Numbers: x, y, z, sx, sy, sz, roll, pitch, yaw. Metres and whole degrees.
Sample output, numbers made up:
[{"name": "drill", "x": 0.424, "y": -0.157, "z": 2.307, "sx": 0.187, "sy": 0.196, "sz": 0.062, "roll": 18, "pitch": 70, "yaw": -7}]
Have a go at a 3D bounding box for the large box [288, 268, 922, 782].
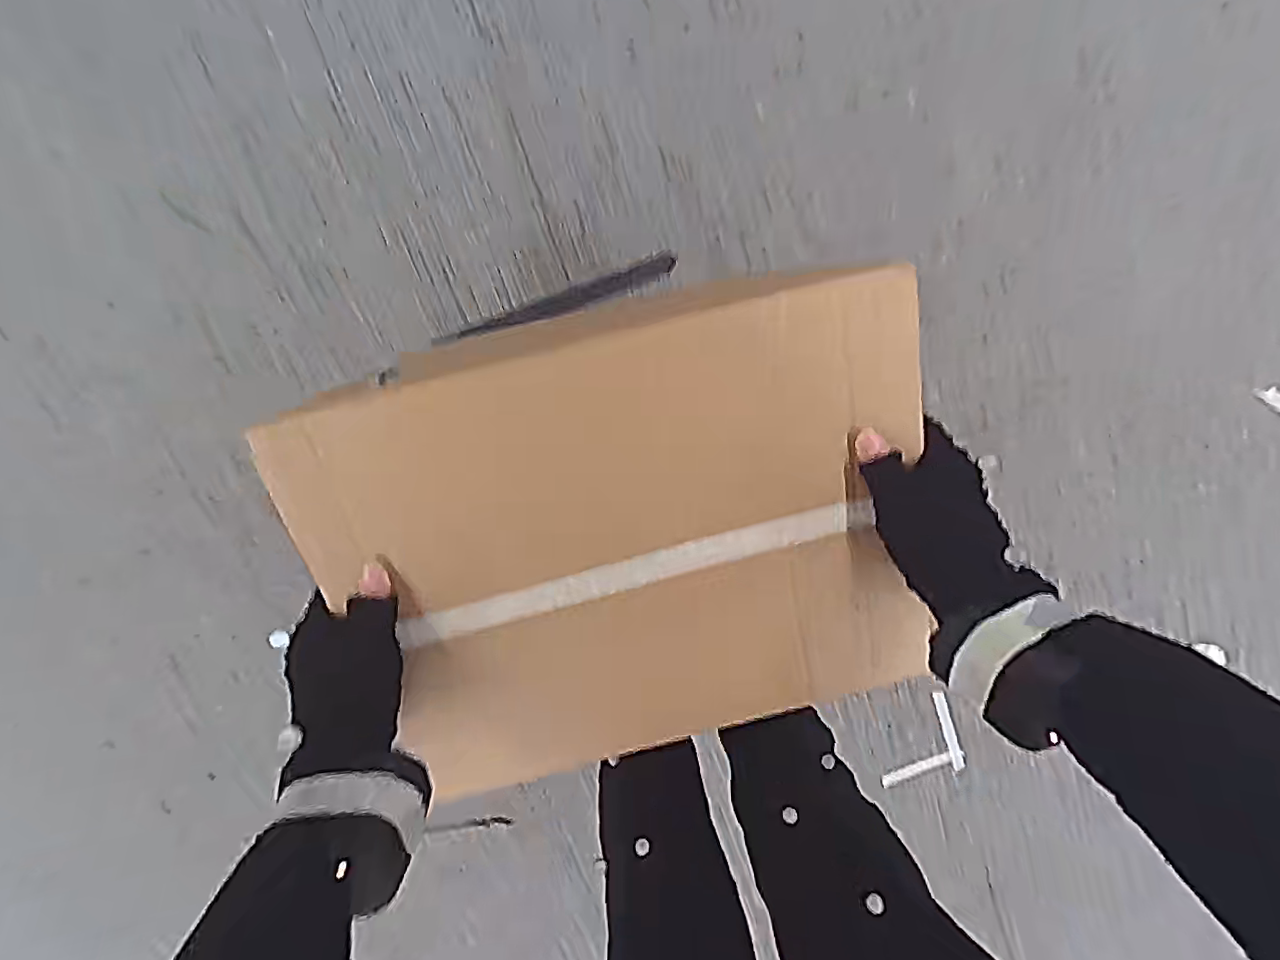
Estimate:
[{"name": "large box", "x": -0.011, "y": 0.008, "z": 0.526, "sx": 0.408, "sy": 0.320, "sz": 0.320, "roll": -14, "pitch": 111, "yaw": -1}]
